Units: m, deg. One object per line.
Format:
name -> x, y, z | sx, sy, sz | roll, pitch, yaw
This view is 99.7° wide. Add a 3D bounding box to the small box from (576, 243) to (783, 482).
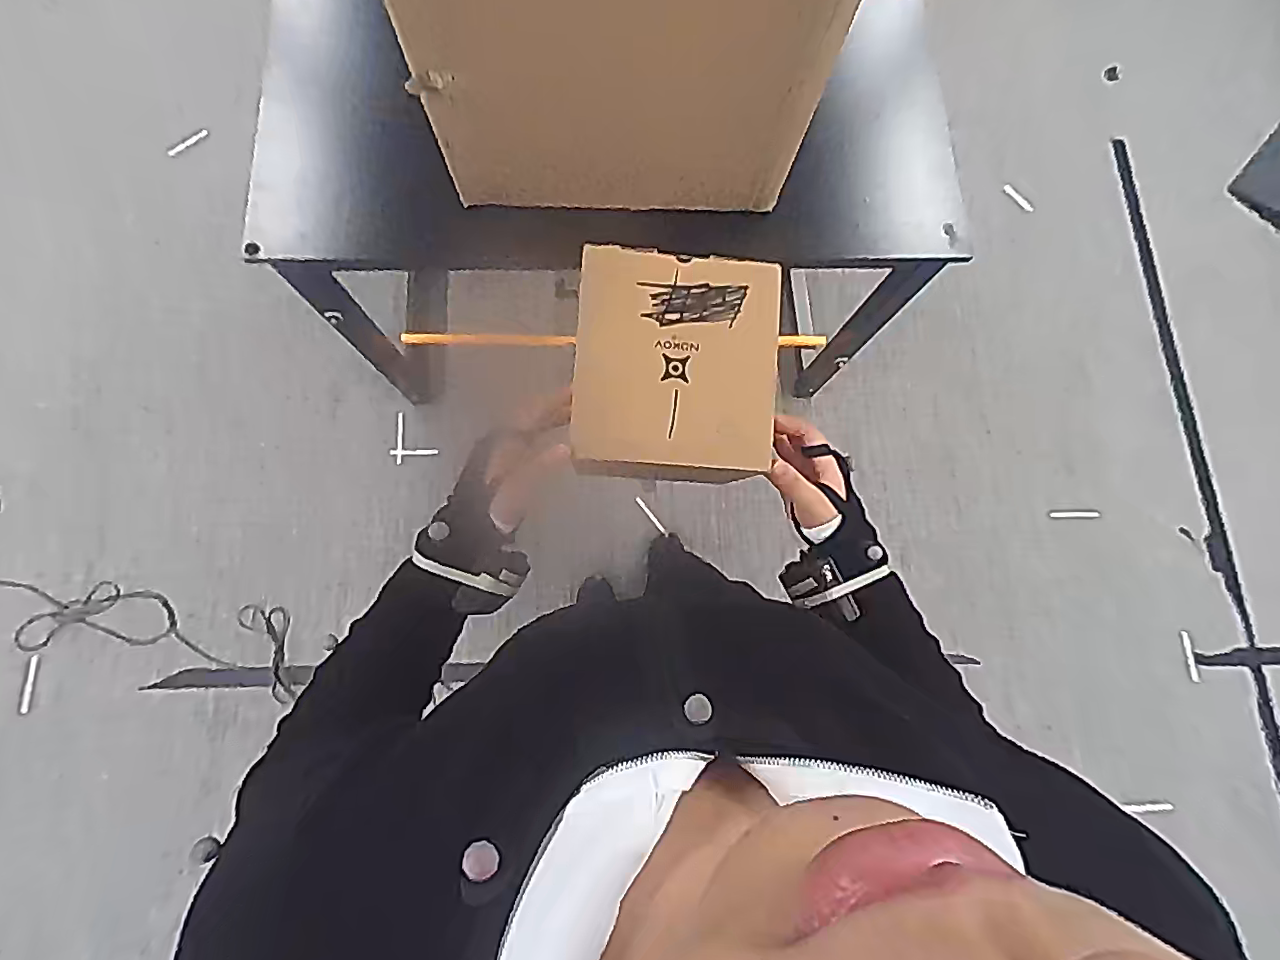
small box -> 0.029, -0.097, 0.521 | 0.168, 0.176, 0.179 | 4, 85, -4
